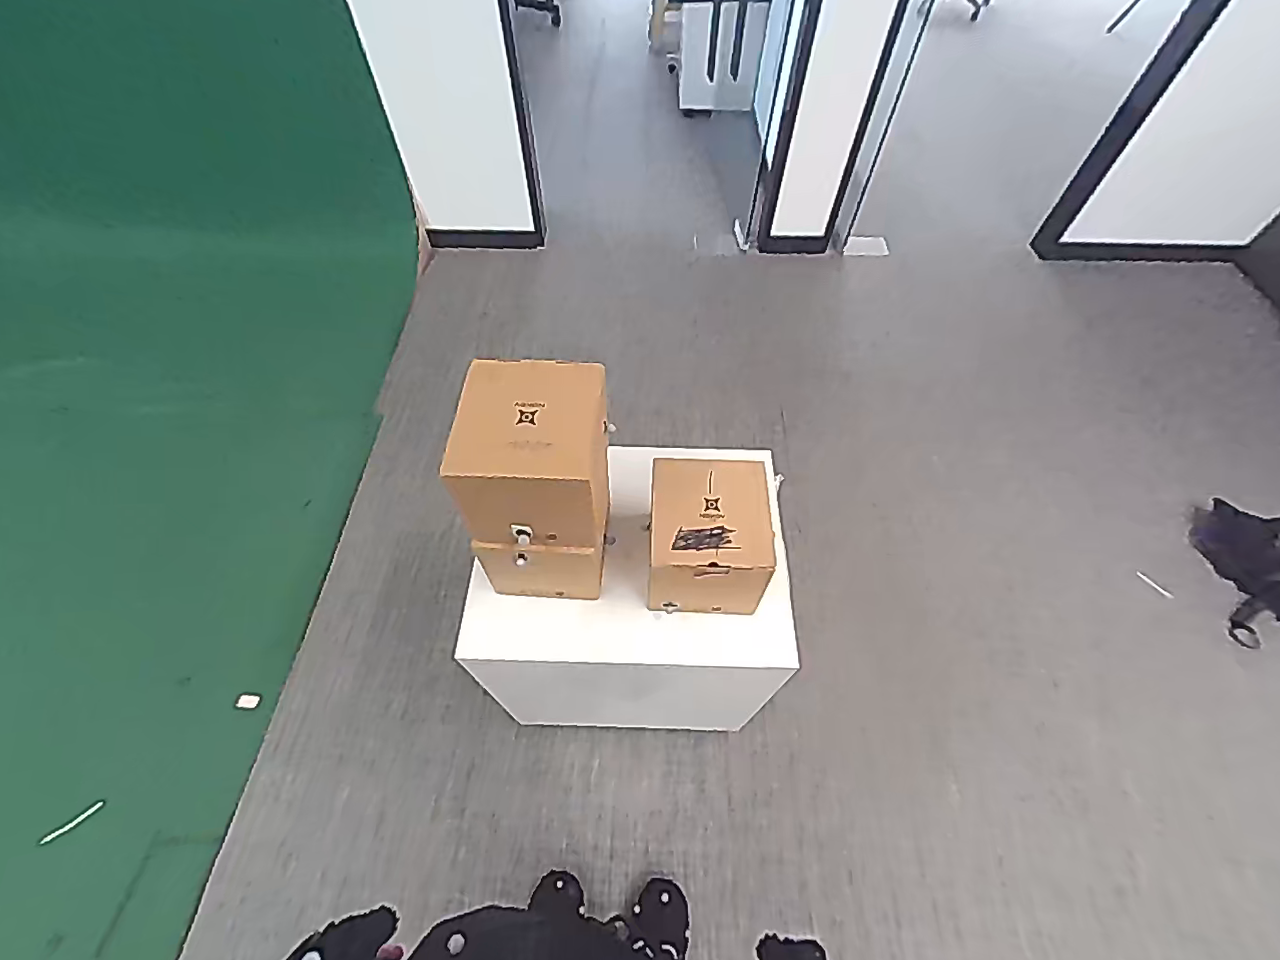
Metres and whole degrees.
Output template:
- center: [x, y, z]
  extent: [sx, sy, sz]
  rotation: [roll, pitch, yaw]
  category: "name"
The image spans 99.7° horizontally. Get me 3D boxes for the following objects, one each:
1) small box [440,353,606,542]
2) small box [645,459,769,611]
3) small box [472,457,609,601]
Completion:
- center: [-0.132, -0.038, 0.688]
  extent: [0.168, 0.176, 0.179]
  rotation: [1, 57, 0]
  category: "small box"
- center: [0.094, 0.088, 0.820]
  extent: [0.168, 0.176, 0.179]
  rotation: [2, 55, 1]
  category: "small box"
- center: [-0.139, 0.067, 0.831]
  extent: [0.168, 0.176, 0.179]
  rotation: [3, 55, 3]
  category: "small box"
